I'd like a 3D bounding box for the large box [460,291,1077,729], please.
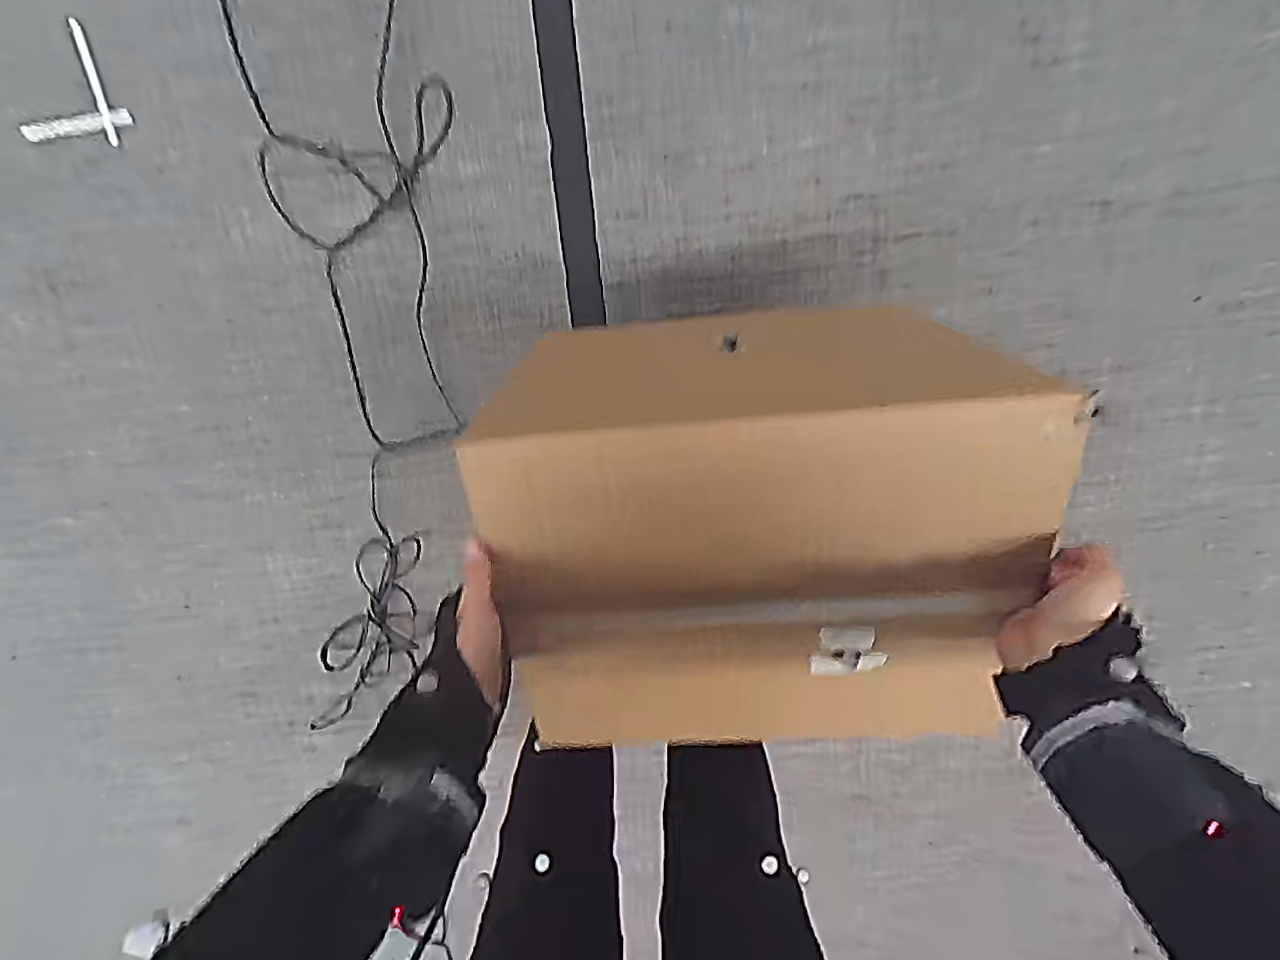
[{"bbox_3d":[0.095,0.011,0.548,0.408,0.320,0.320,-5,119,5],"label":"large box"}]
